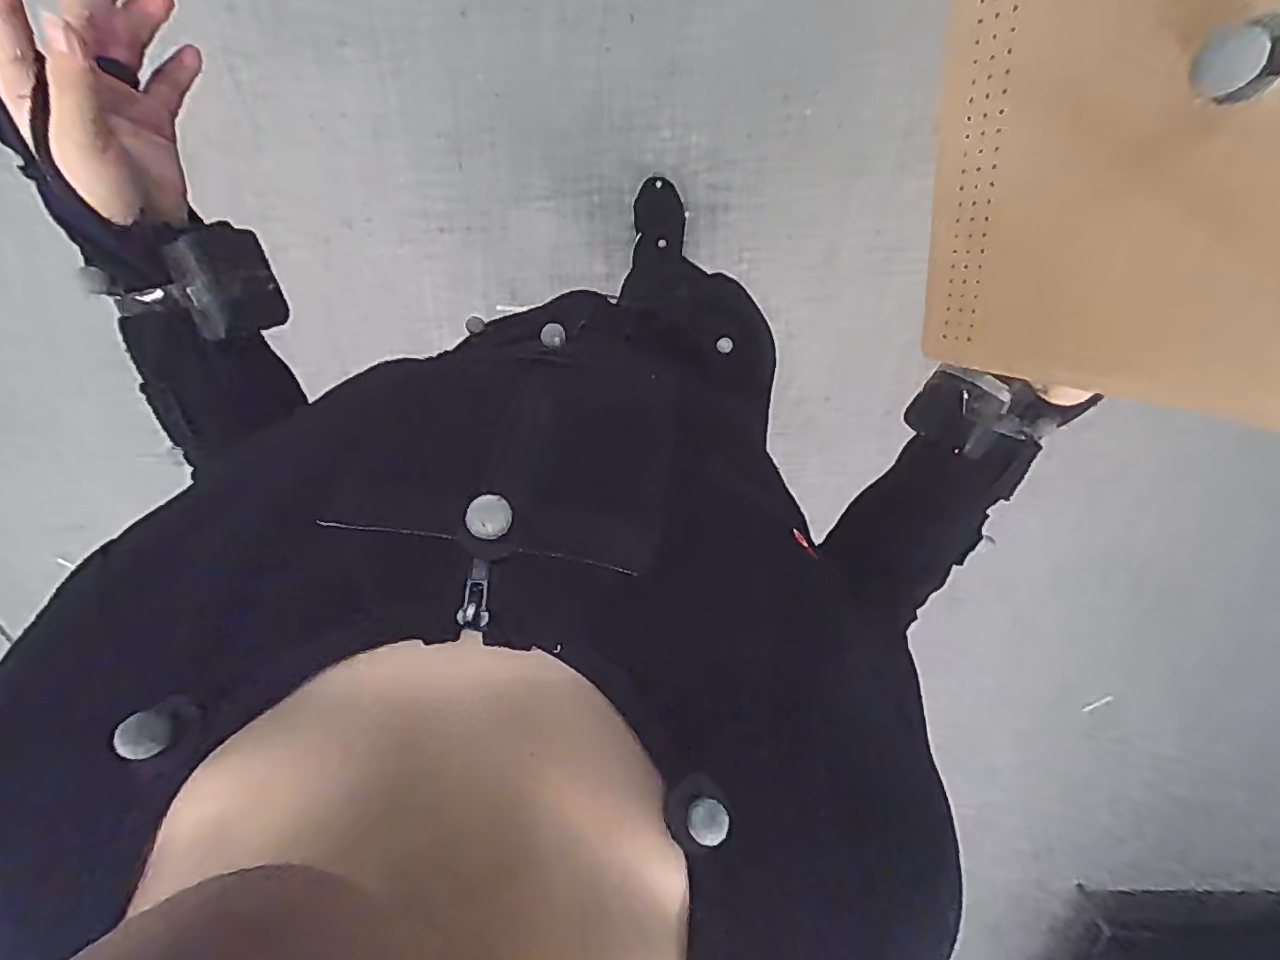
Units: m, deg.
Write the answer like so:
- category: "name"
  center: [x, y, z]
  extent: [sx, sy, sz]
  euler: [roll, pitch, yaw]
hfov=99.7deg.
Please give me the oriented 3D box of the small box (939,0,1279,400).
- category: "small box"
  center: [0.245, -0.137, 0.206]
  extent: [0.168, 0.176, 0.179]
  euler: [-19, 117, -17]
